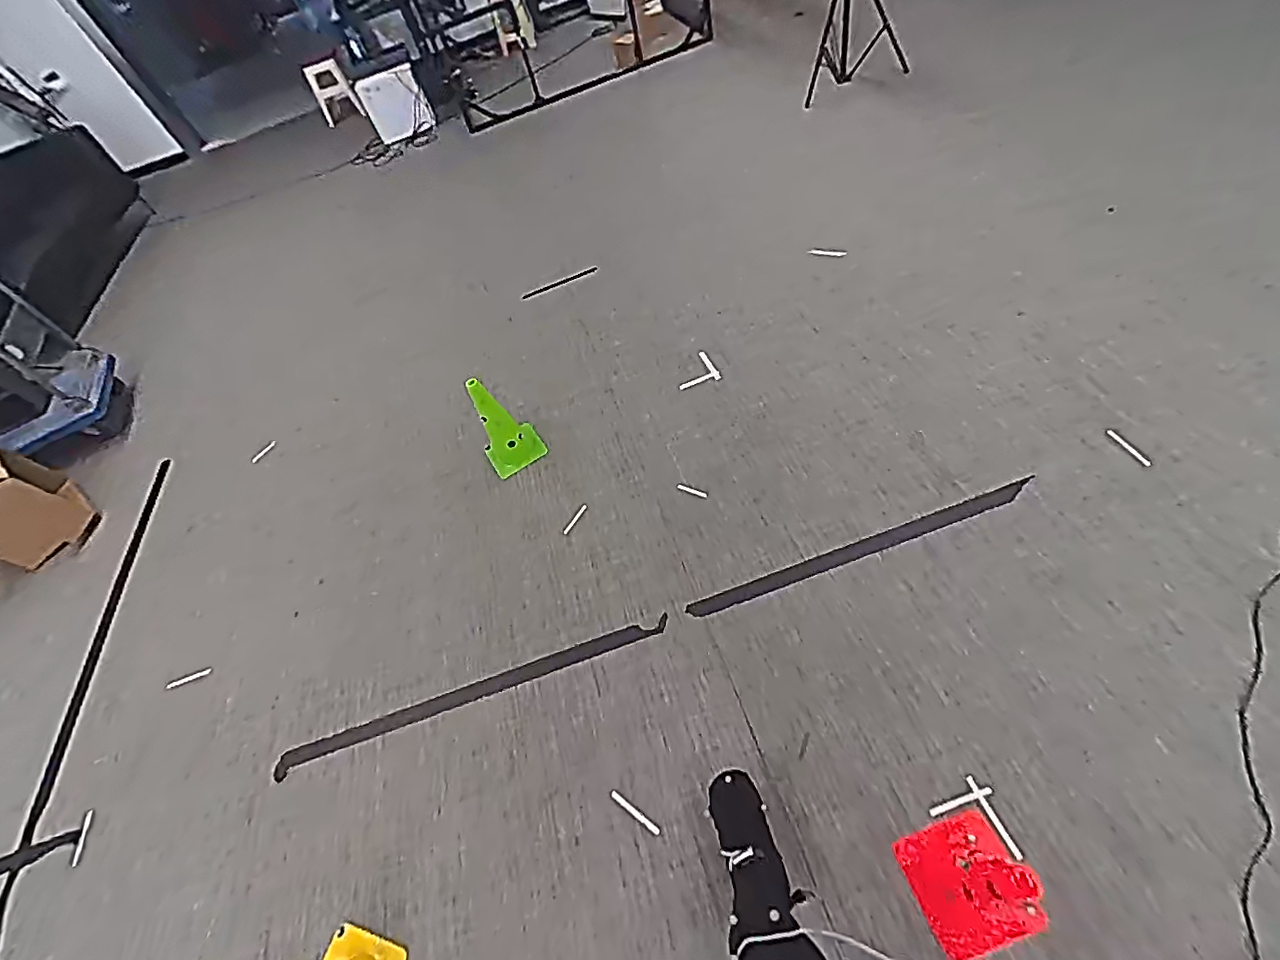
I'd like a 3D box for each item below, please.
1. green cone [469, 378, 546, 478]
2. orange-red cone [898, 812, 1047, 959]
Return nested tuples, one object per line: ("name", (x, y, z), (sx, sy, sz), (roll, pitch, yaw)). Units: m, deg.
("green cone", (-0.507, -0.209, 1.900), (0.202, 0.368, 0.200), (-33, 53, -11))
("orange-red cone", (0.592, 0.677, 0.911), (0.199, 0.360, 0.198), (-22, 50, 1))
